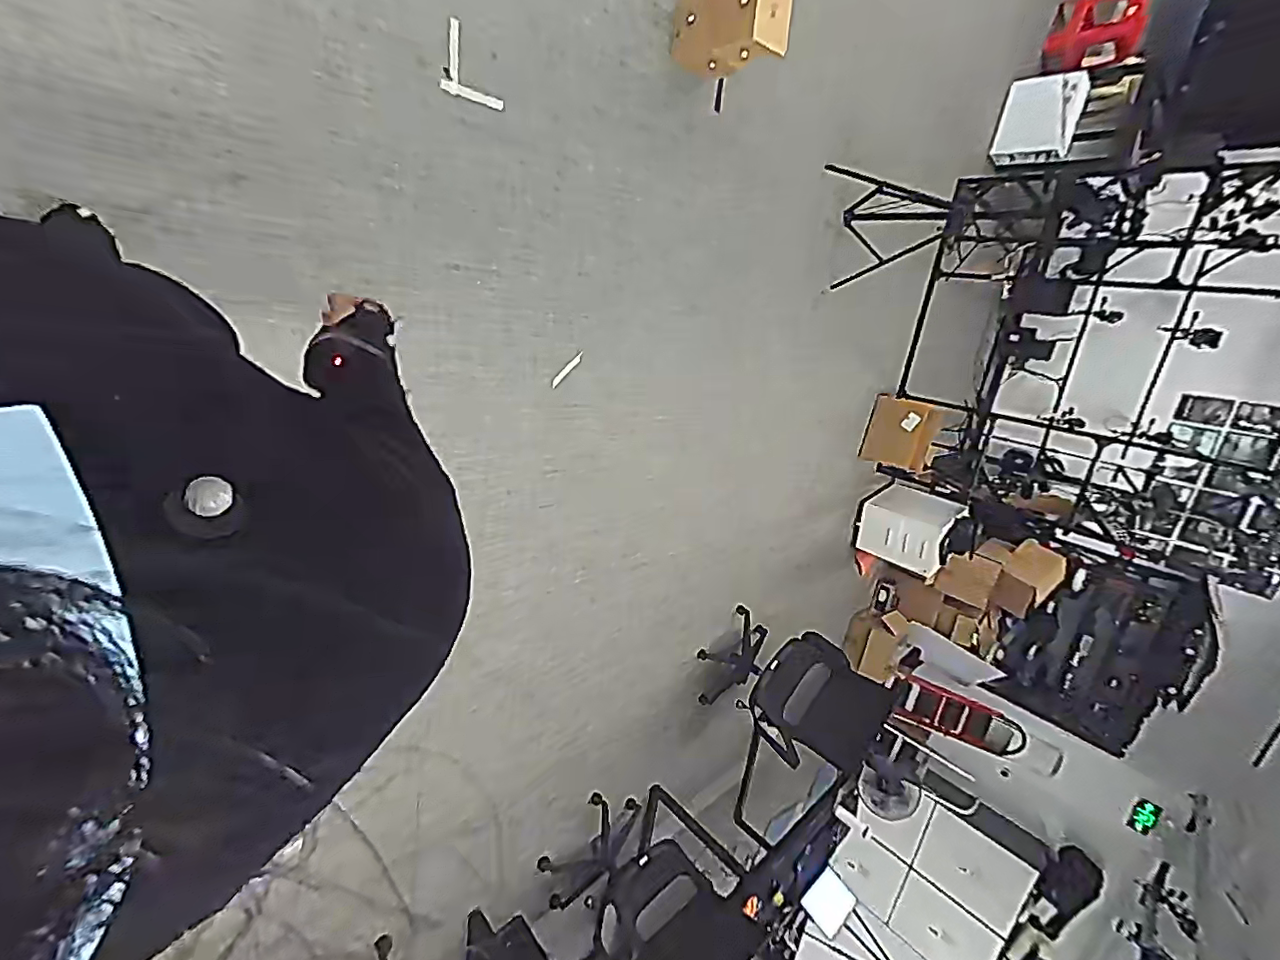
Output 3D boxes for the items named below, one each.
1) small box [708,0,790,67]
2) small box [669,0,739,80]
[{"bbox_3d":[0.322,-1.374,1.618,0.168,0.176,0.179,-15,118,-41],"label":"small box"},{"bbox_3d":[0.217,-1.420,1.734,0.179,0.176,0.168,-5,112,-46],"label":"small box"}]
